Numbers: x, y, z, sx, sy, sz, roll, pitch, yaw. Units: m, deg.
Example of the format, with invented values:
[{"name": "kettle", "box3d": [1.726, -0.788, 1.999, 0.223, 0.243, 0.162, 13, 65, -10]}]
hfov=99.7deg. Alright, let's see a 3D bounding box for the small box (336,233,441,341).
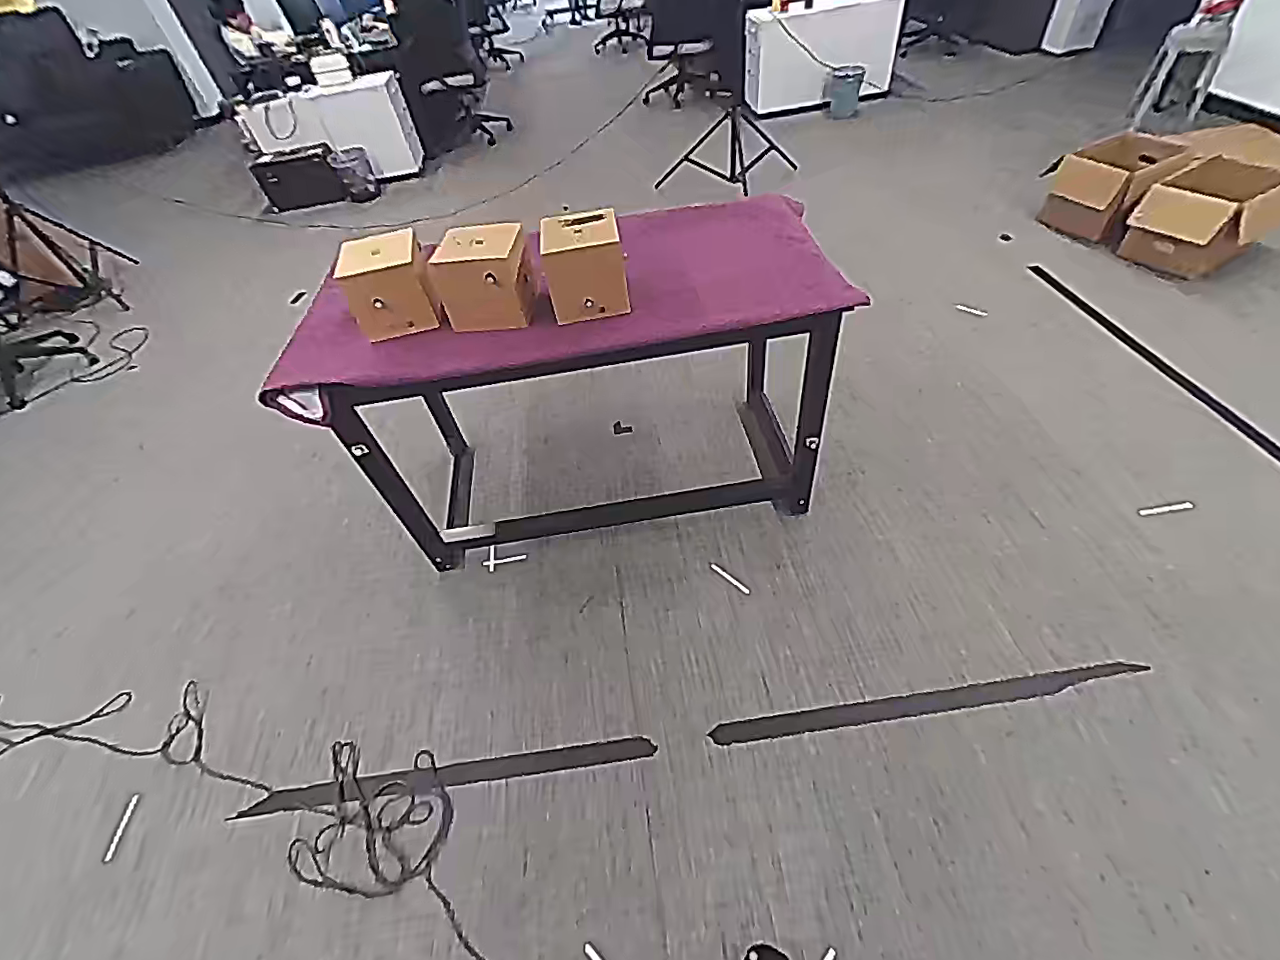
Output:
[{"name": "small box", "box3d": [-0.575, -0.442, 1.260, 0.168, 0.176, 0.179, -16, 49, -5]}]
